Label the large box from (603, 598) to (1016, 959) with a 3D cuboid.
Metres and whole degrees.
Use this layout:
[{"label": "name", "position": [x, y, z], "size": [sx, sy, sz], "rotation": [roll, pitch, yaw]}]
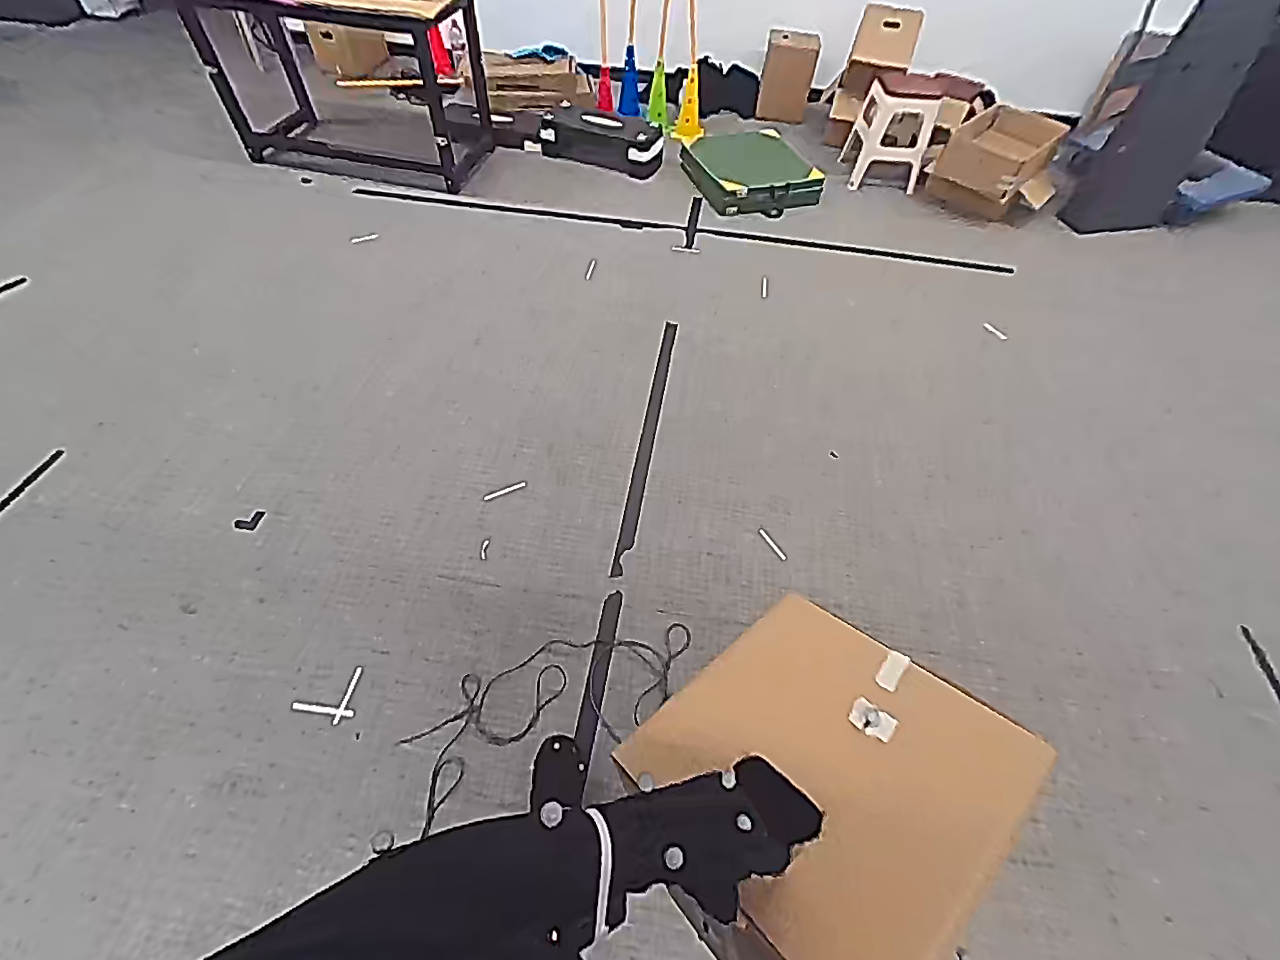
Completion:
[{"label": "large box", "position": [0.207, 0.433, 0.674], "size": [0.320, 0.408, 0.320], "rotation": [-34, 39, -25]}]
